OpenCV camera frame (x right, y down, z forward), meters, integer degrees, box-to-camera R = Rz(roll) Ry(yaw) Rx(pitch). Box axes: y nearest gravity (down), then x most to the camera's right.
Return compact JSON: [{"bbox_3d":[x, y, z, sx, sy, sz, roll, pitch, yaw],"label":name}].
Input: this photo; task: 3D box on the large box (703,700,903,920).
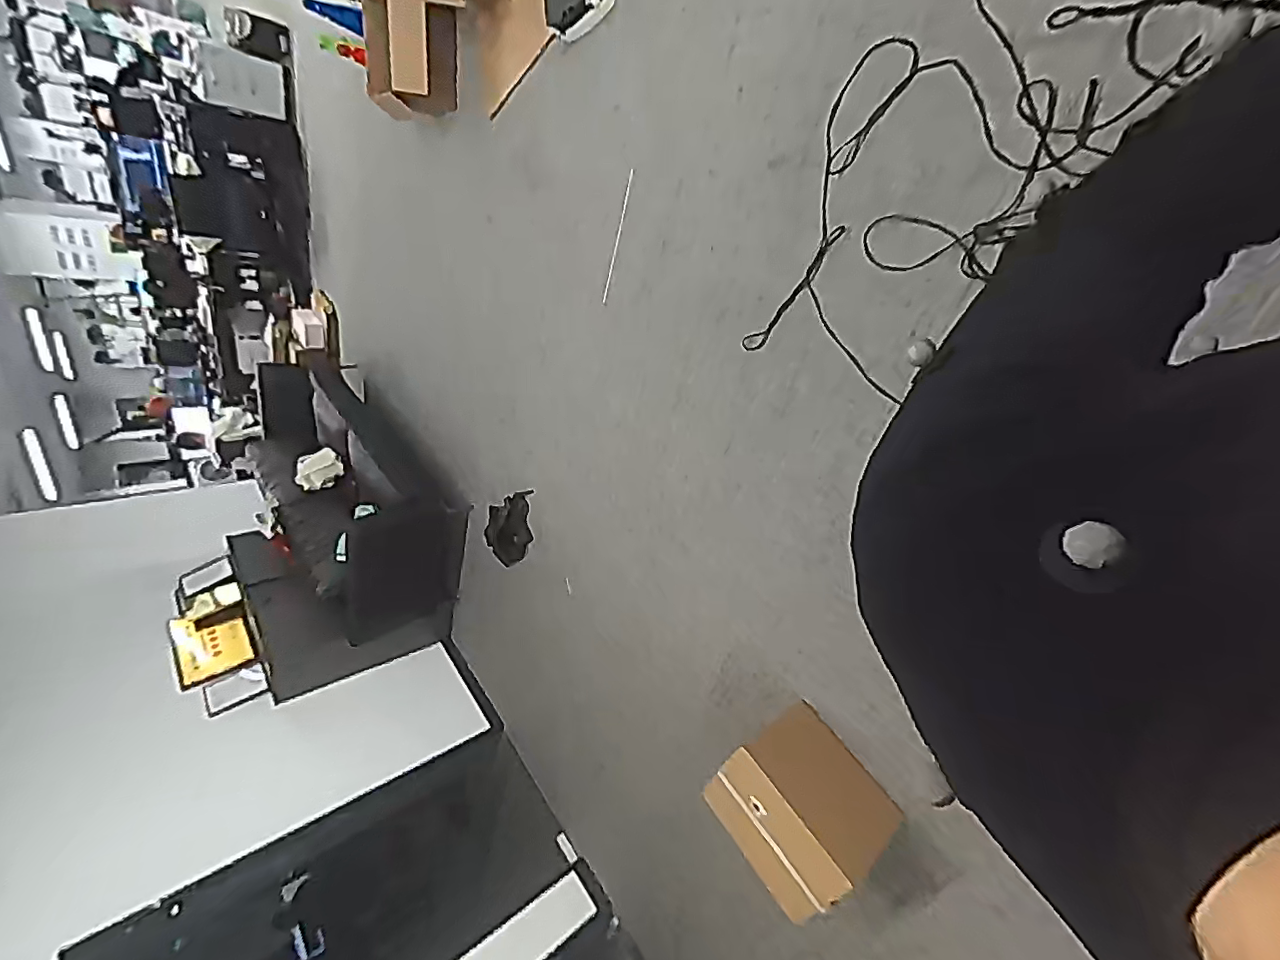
[{"bbox_3d":[0.469,0.952,1.598,0.408,0.320,0.320,48,131,31],"label":"large box"}]
